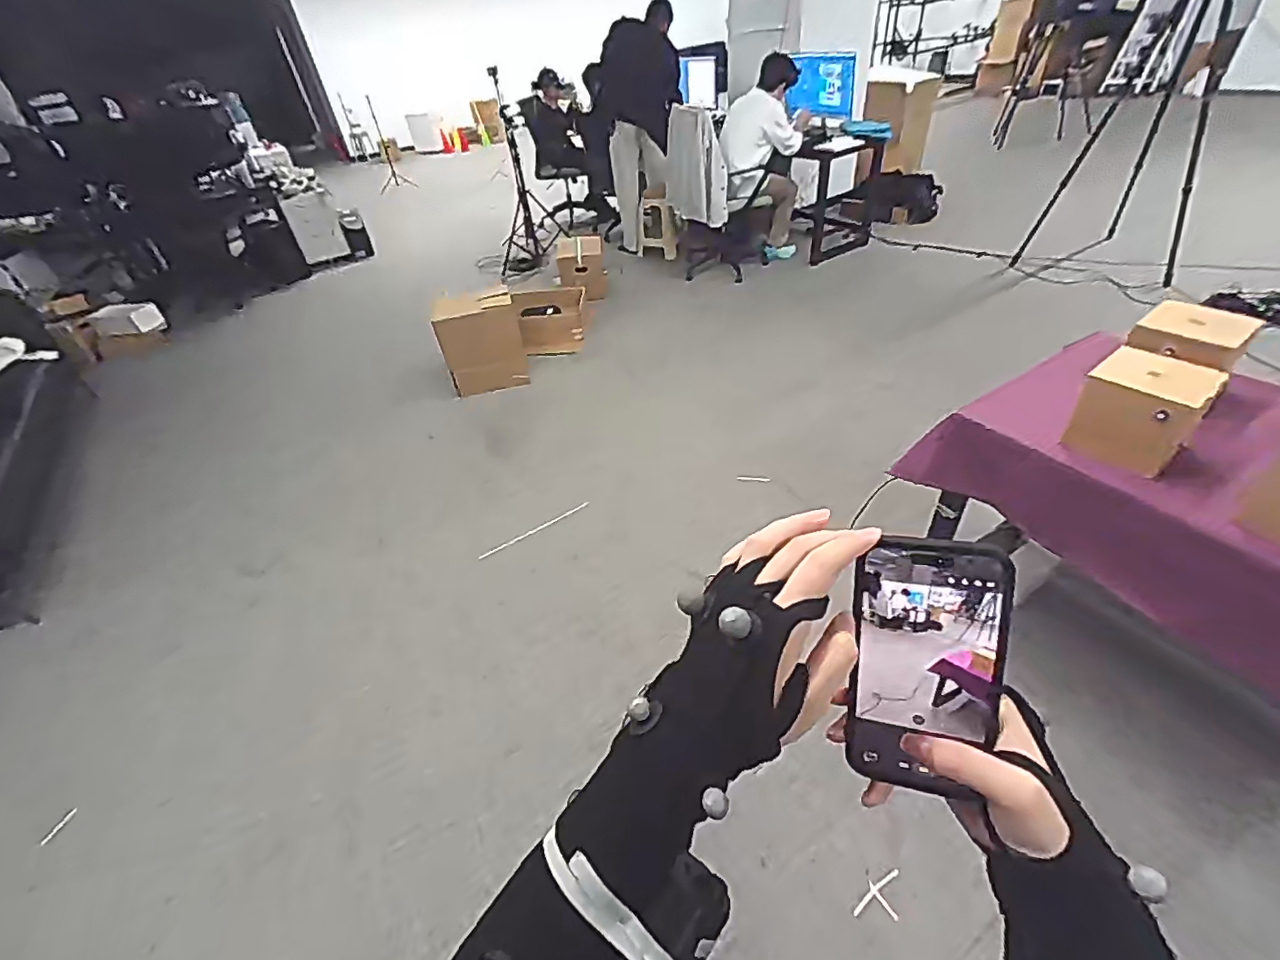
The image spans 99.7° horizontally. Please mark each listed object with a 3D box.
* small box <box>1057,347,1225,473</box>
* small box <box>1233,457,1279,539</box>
[{"bbox_3d":[0.999,-0.142,1.095,0.168,0.176,0.179,-30,47,-24],"label":"small box"},{"bbox_3d":[1.150,0.025,0.877,0.168,0.176,0.179,-21,43,-16],"label":"small box"}]
